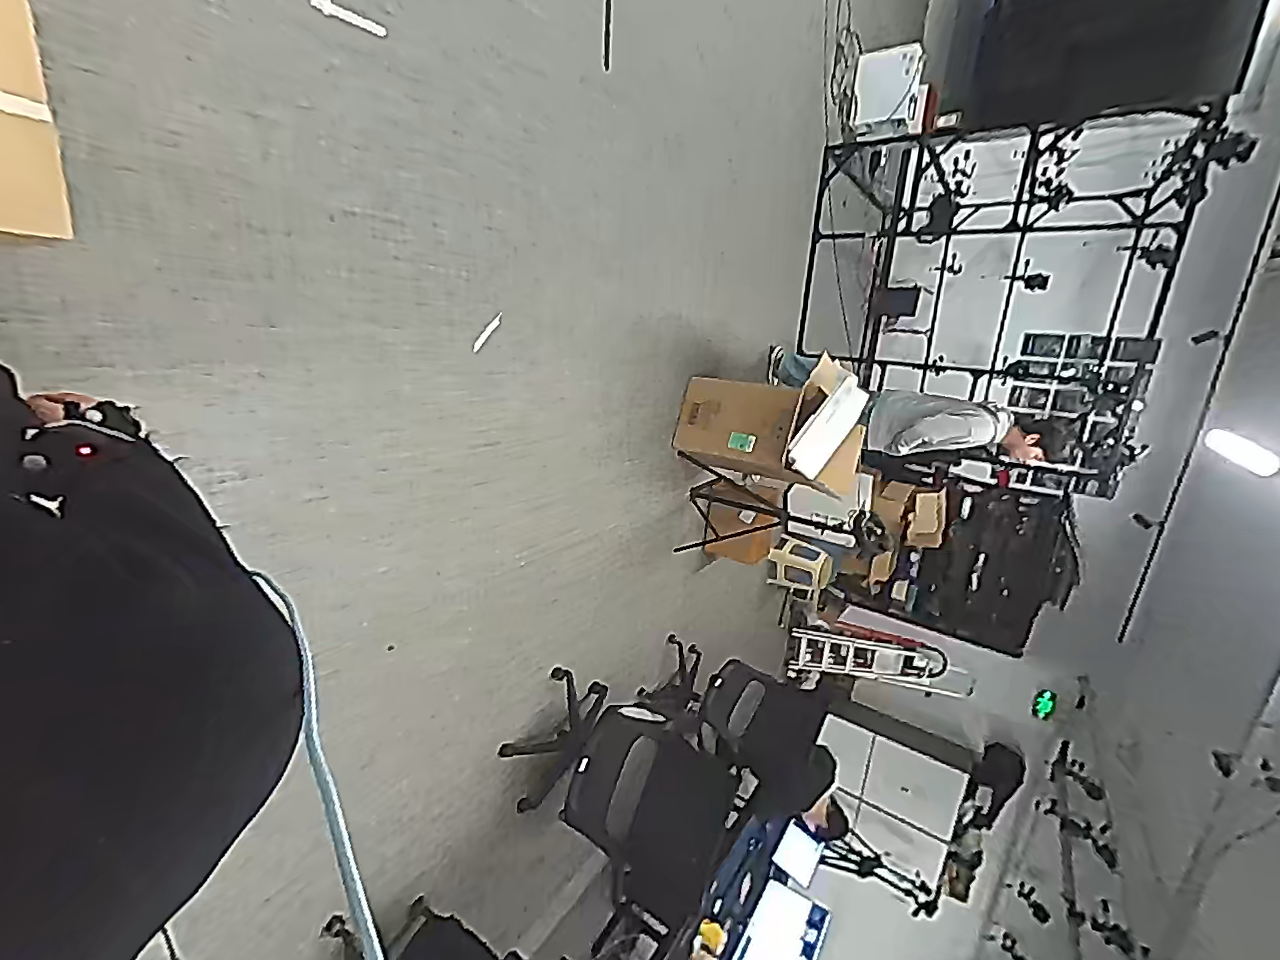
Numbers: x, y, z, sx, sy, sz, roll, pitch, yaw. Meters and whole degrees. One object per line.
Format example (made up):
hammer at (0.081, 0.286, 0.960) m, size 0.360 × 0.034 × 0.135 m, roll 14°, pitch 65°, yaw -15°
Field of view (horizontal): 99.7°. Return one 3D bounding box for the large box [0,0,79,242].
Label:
large box at (-0.996, -0.476, 0.621) m, size 0.408 × 0.320 × 0.320 m, roll -18°, pitch 117°, yaw -55°
